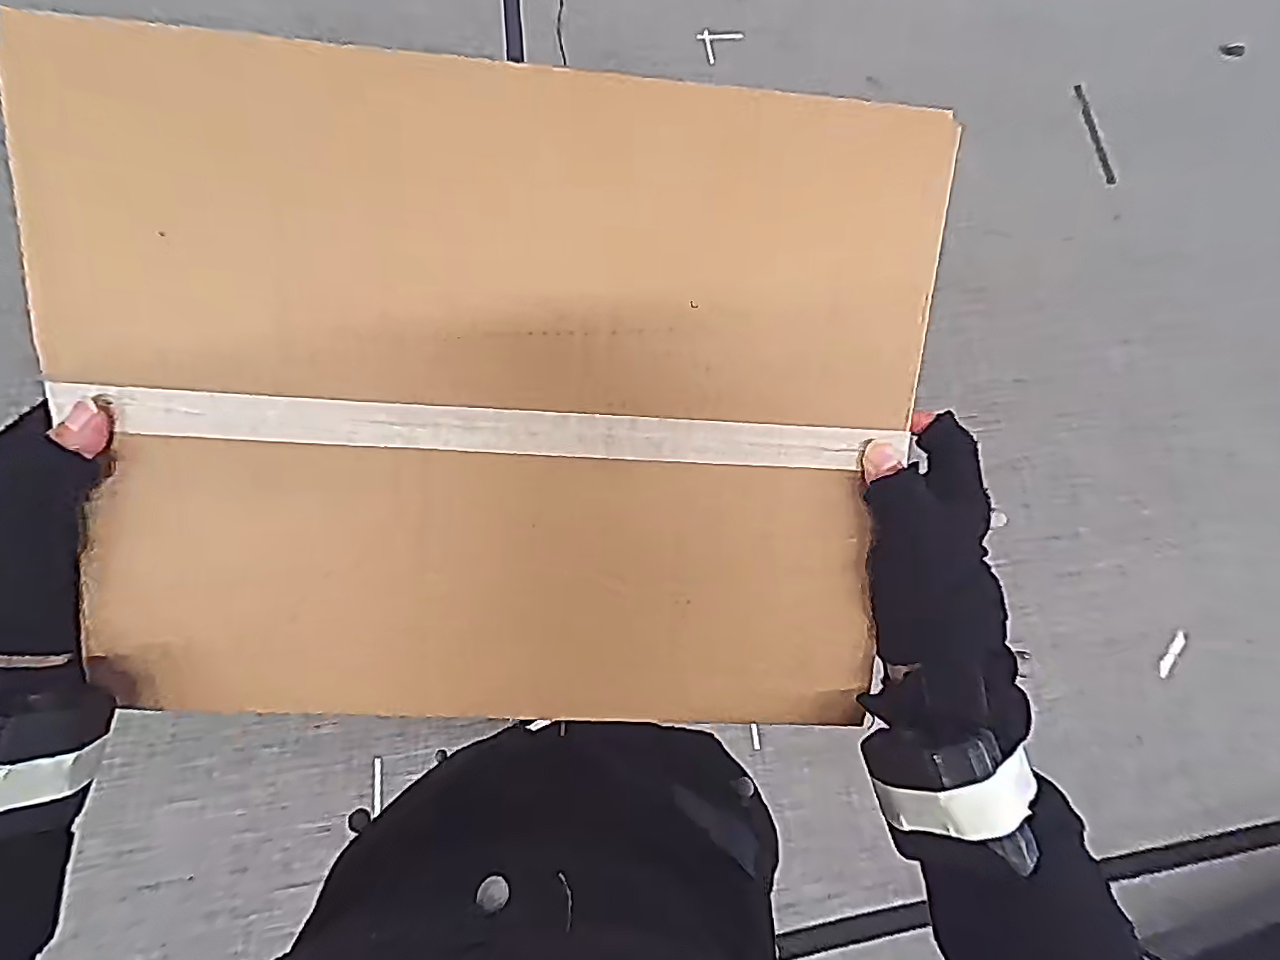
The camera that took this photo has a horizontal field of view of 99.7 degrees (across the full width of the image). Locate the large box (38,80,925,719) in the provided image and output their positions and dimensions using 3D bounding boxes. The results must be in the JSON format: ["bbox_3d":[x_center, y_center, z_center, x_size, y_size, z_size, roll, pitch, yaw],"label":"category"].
[{"bbox_3d":[-0.075,-0.047,0.419,0.408,0.320,0.320,3,101,-4],"label":"large box"}]
